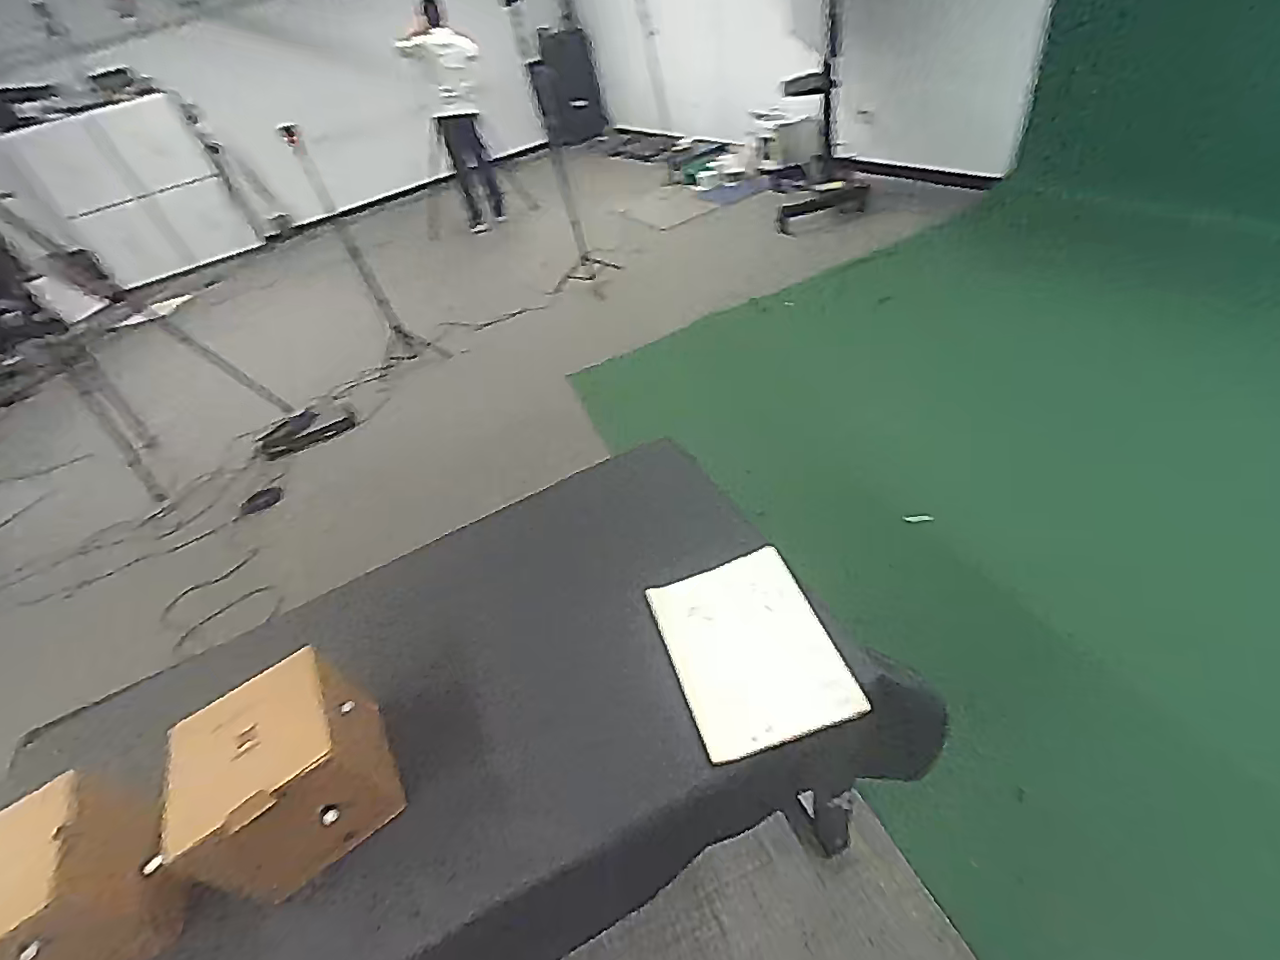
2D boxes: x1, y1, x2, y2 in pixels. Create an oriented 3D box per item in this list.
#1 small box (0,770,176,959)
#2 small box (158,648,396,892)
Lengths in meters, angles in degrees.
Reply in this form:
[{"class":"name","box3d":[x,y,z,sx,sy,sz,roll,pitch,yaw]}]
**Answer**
[{"class":"small box","box3d":[-0.657,0.470,0.585,0.179,0.176,0.168,-33,42,-21]},{"class":"small box","box3d":[-0.421,0.348,0.647,0.168,0.176,0.179,-32,41,-20]}]
